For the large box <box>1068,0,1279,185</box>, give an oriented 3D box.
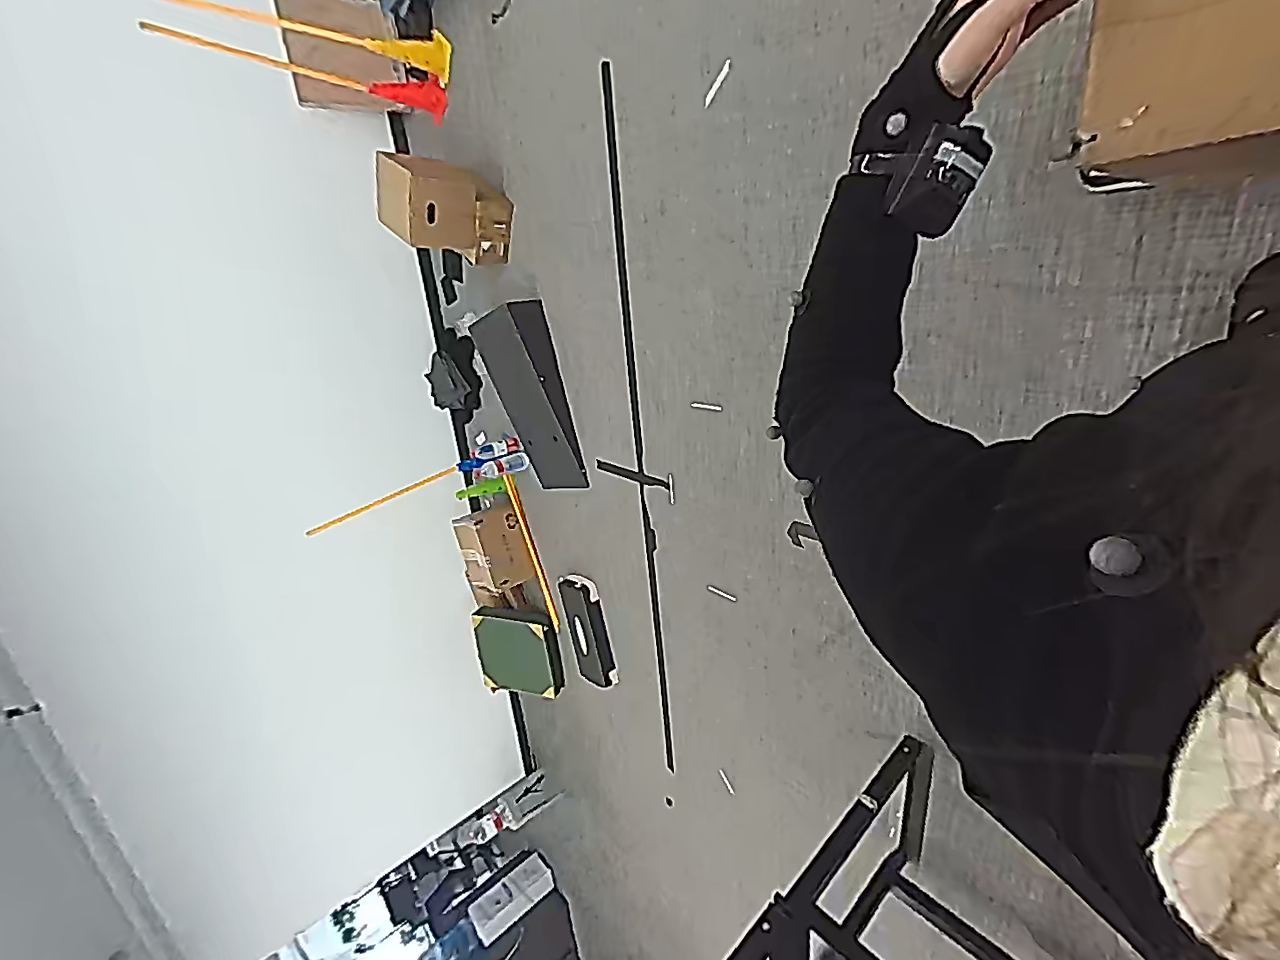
[{"bbox_3d":[0.490,-0.339,0.226,0.408,0.320,0.320,17,119,48],"label":"large box"}]
